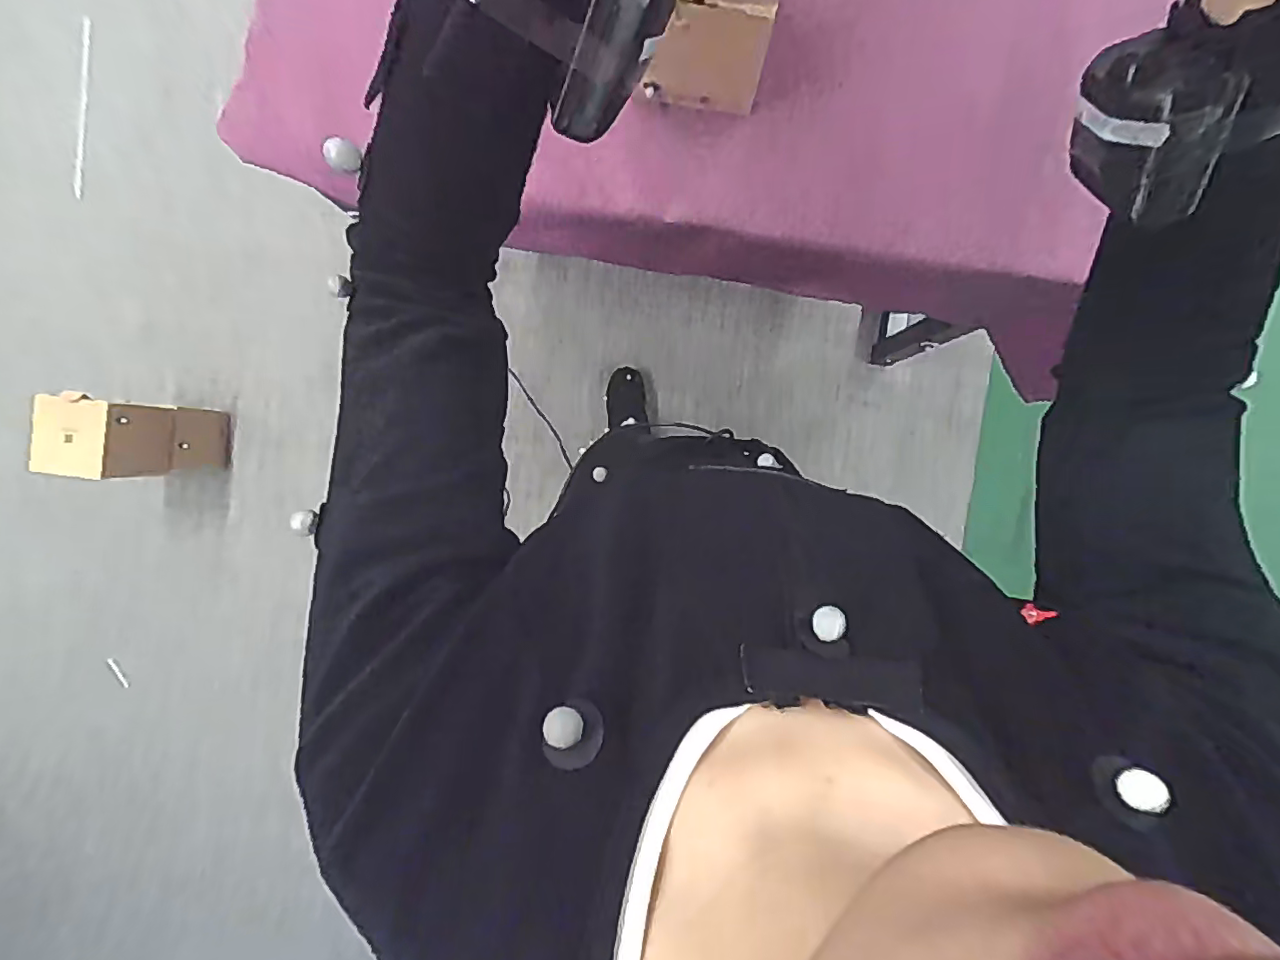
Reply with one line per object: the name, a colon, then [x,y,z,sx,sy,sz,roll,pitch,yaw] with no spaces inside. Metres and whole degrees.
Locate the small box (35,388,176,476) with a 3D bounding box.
small box: [-1.236,-0.109,1.263,0.168,0.176,0.179,7,92,1]

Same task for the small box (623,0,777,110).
small box: [0.080,-0.584,0.642,0.168,0.176,0.179,10,92,1]

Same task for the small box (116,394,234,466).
small box: [-1.228,-0.126,1.425,0.179,0.176,0.168,7,92,2]
